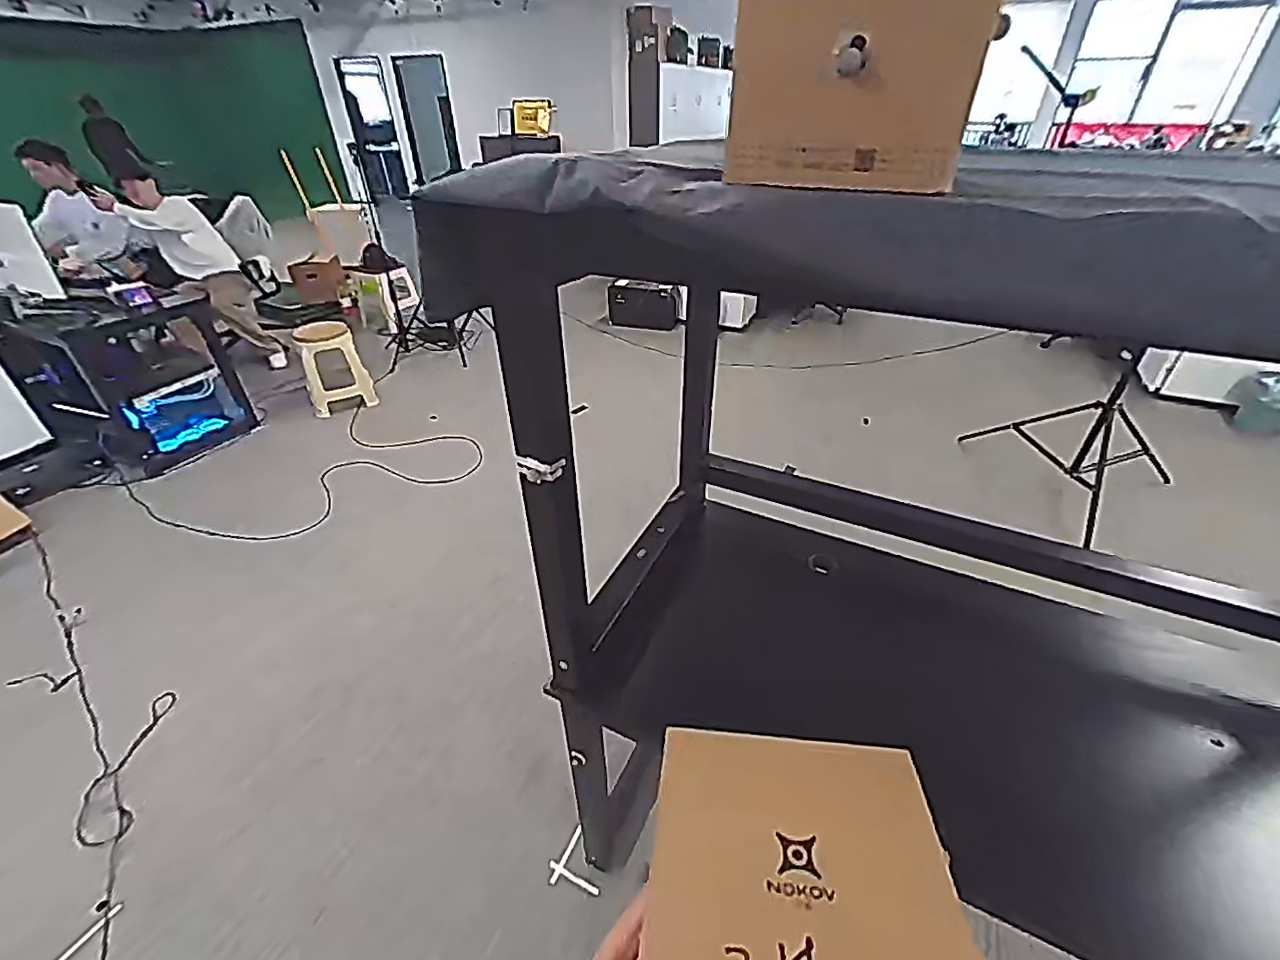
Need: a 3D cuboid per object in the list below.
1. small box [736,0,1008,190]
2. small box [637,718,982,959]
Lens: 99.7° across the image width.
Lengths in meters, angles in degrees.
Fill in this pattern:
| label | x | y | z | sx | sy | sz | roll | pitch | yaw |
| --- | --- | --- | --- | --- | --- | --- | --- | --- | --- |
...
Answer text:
| label | x | y | z | sx | sy | sz | roll | pitch | yaw |
| --- | --- | --- | --- | --- | --- | --- | --- | --- | --- |
| small box | 0.177 | -0.329 | 0.418 | 0.168 | 0.176 | 0.179 | 14 | 37 | 18 |
| small box | 0.091 | 0.283 | 0.333 | 0.168 | 0.176 | 0.179 | 1 | 27 | 9 |
